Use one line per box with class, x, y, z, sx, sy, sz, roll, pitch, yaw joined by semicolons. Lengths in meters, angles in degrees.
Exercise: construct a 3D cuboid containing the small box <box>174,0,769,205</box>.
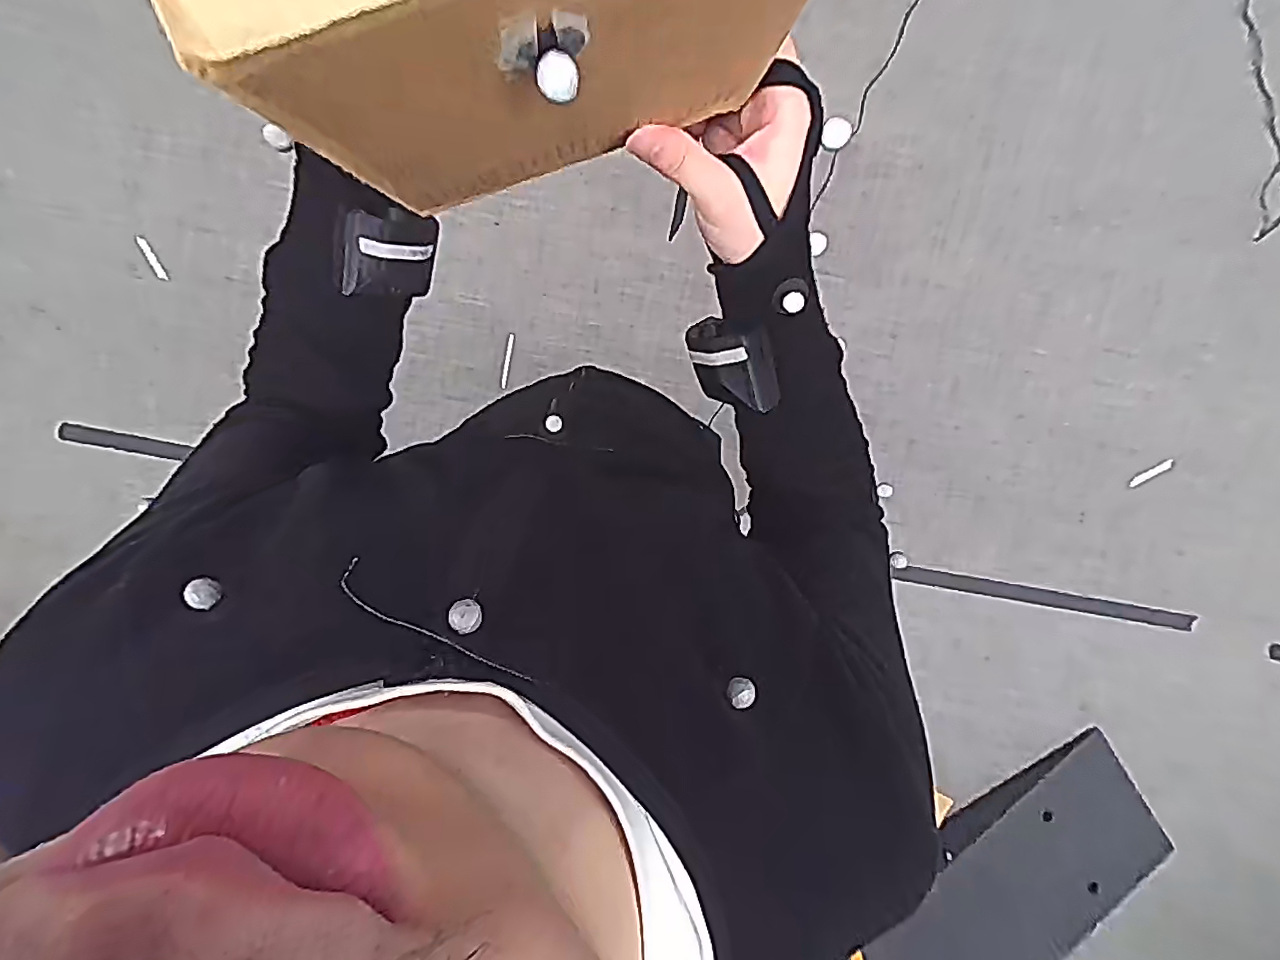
small box;-0.052;-0.218;0.188;0.179;0.176;0.168;-18;107;1
